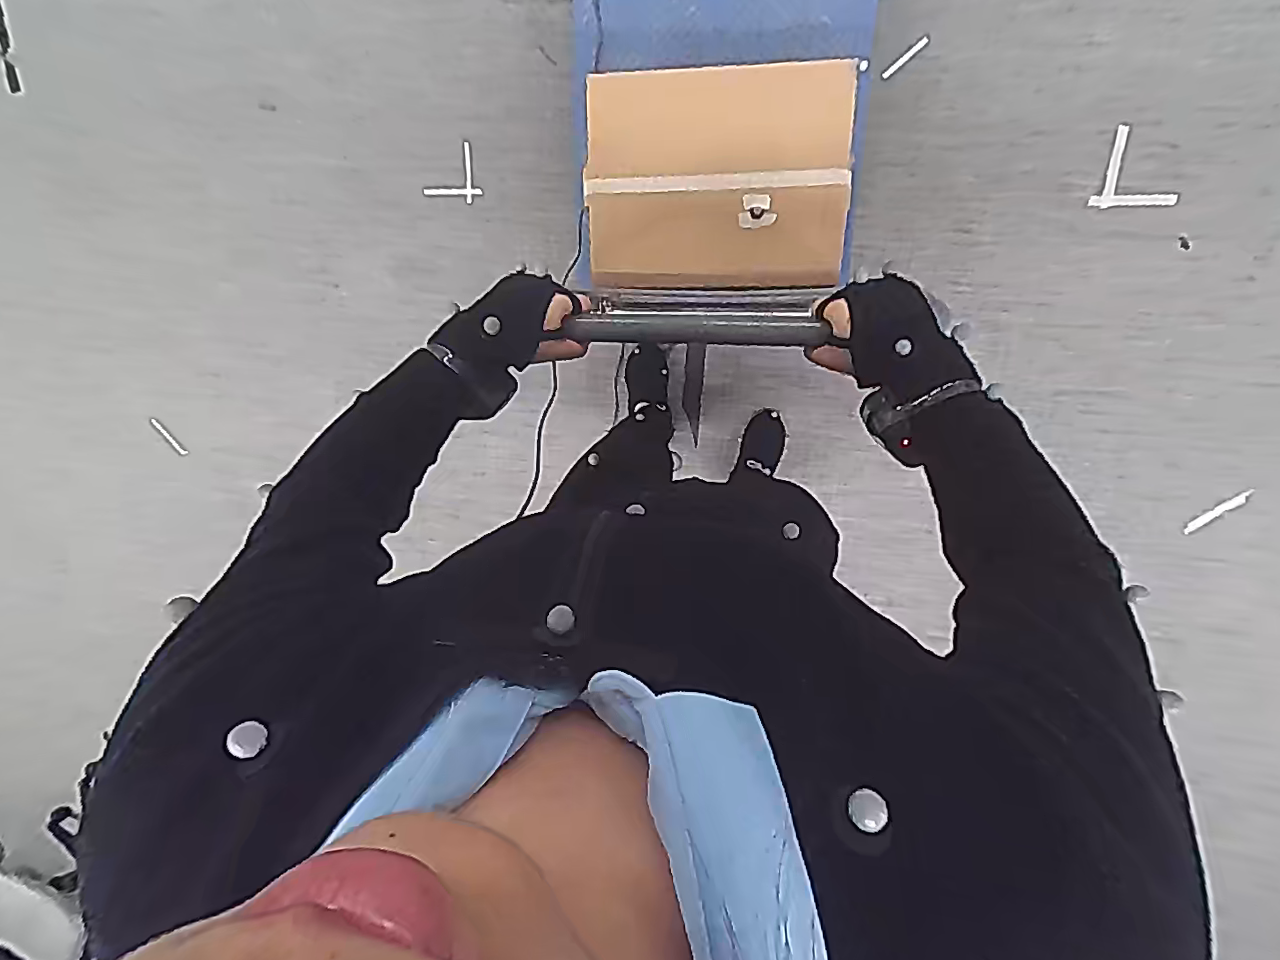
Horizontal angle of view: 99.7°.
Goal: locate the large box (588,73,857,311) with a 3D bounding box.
[{"bbox_3d":[0.133,-0.479,0.980,0.408,0.320,0.320,2,106,6],"label":"large box"}]
